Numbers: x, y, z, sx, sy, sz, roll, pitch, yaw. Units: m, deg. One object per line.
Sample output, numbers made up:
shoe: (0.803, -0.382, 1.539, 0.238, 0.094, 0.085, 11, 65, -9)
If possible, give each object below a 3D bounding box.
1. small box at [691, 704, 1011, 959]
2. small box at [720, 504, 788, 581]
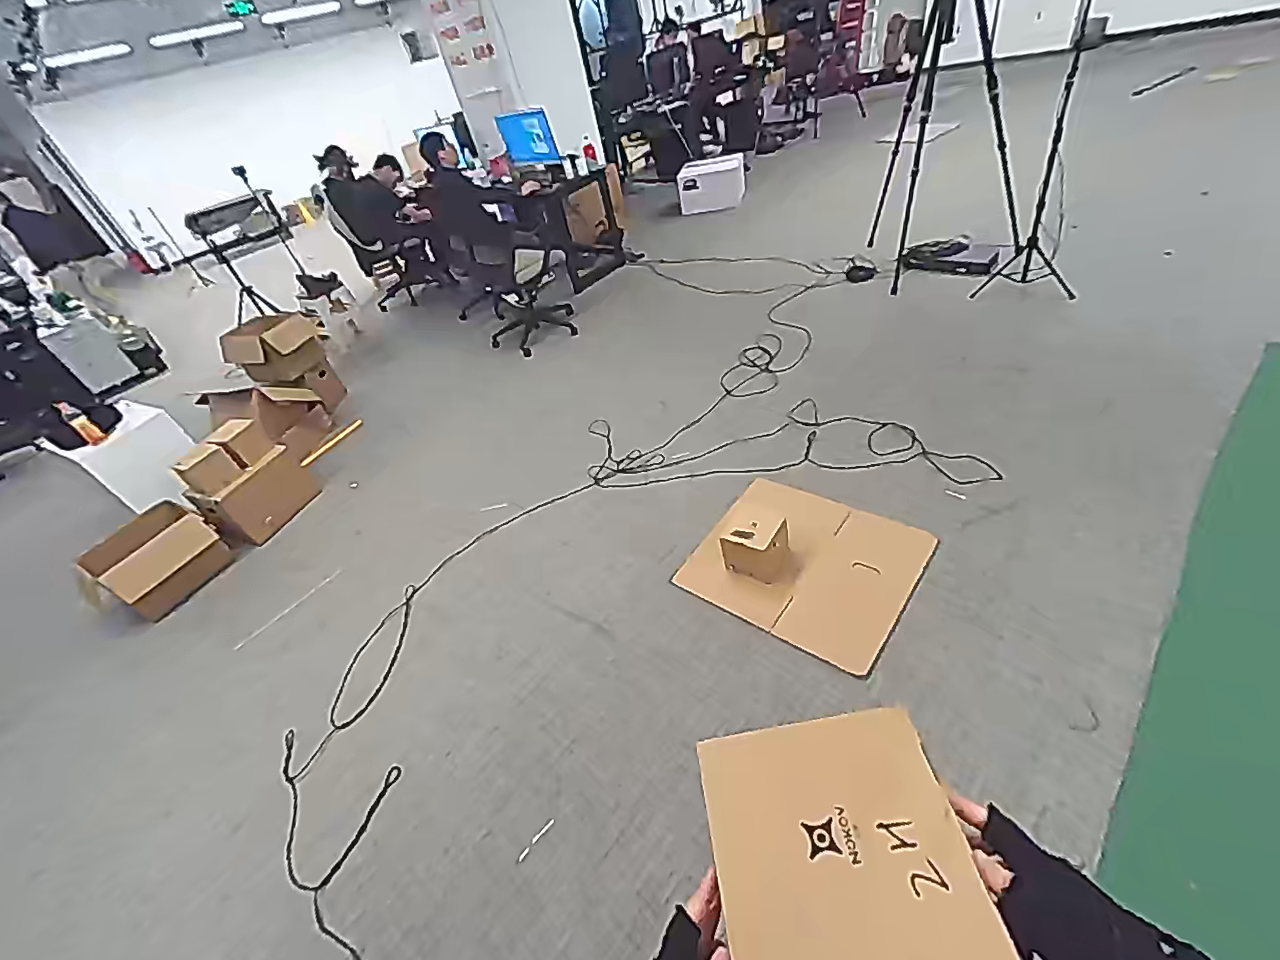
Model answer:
small box: (0.150, 0.310, 0.438, 0.179, 0.176, 0.168, -12, 42, 4)
small box: (0.397, 0.216, 1.848, 0.168, 0.176, 0.179, 16, 49, 34)
